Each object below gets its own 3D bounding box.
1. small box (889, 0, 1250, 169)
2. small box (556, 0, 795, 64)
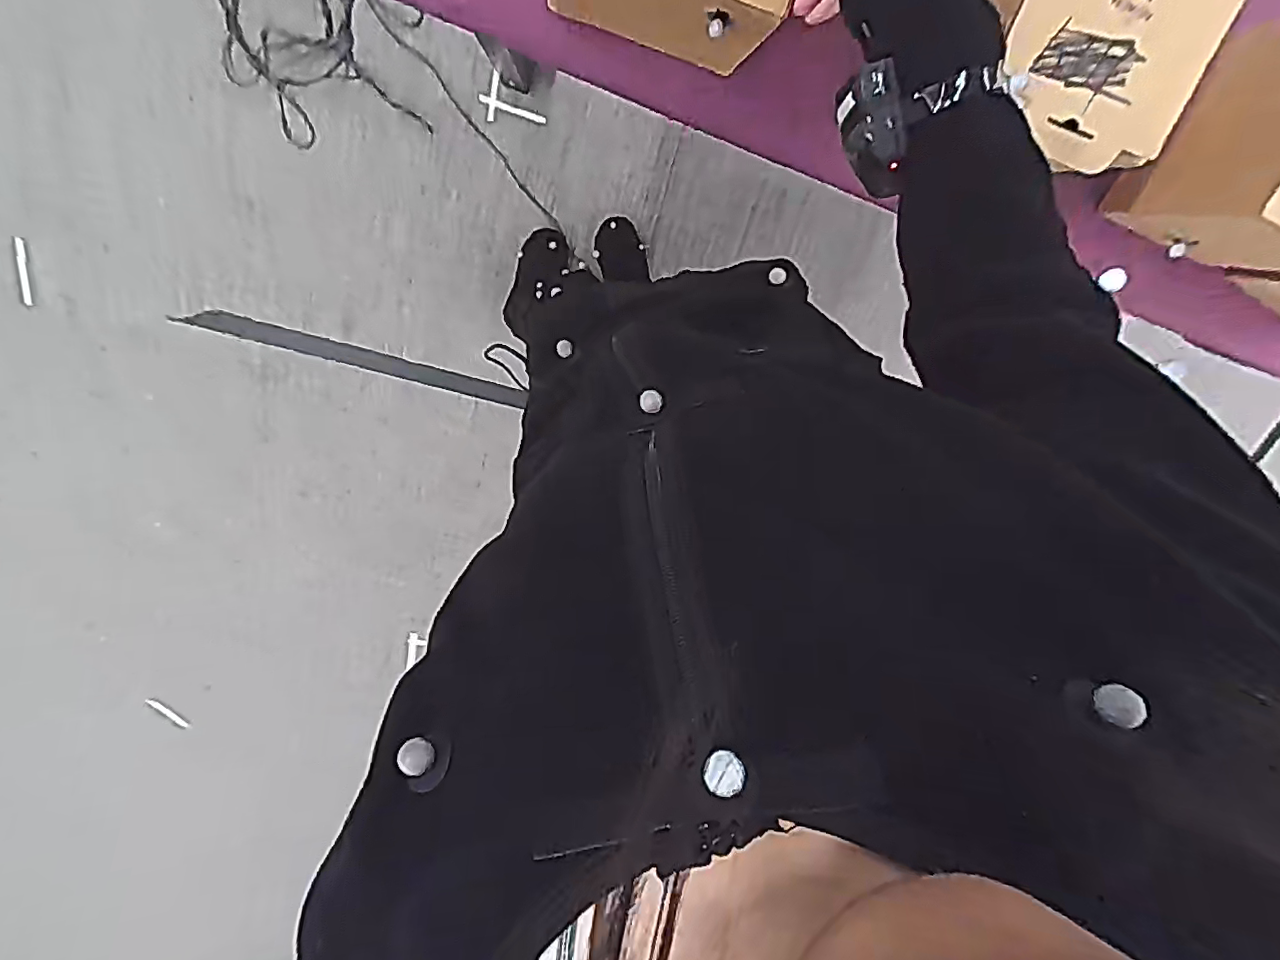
[{"bbox_3d":[0.342,-0.378,0.450,0.168,0.176,0.179,11,114,-13],"label":"small box"},{"bbox_3d":[0.031,-0.433,0.384,0.179,0.176,0.168,11,115,-12],"label":"small box"}]
